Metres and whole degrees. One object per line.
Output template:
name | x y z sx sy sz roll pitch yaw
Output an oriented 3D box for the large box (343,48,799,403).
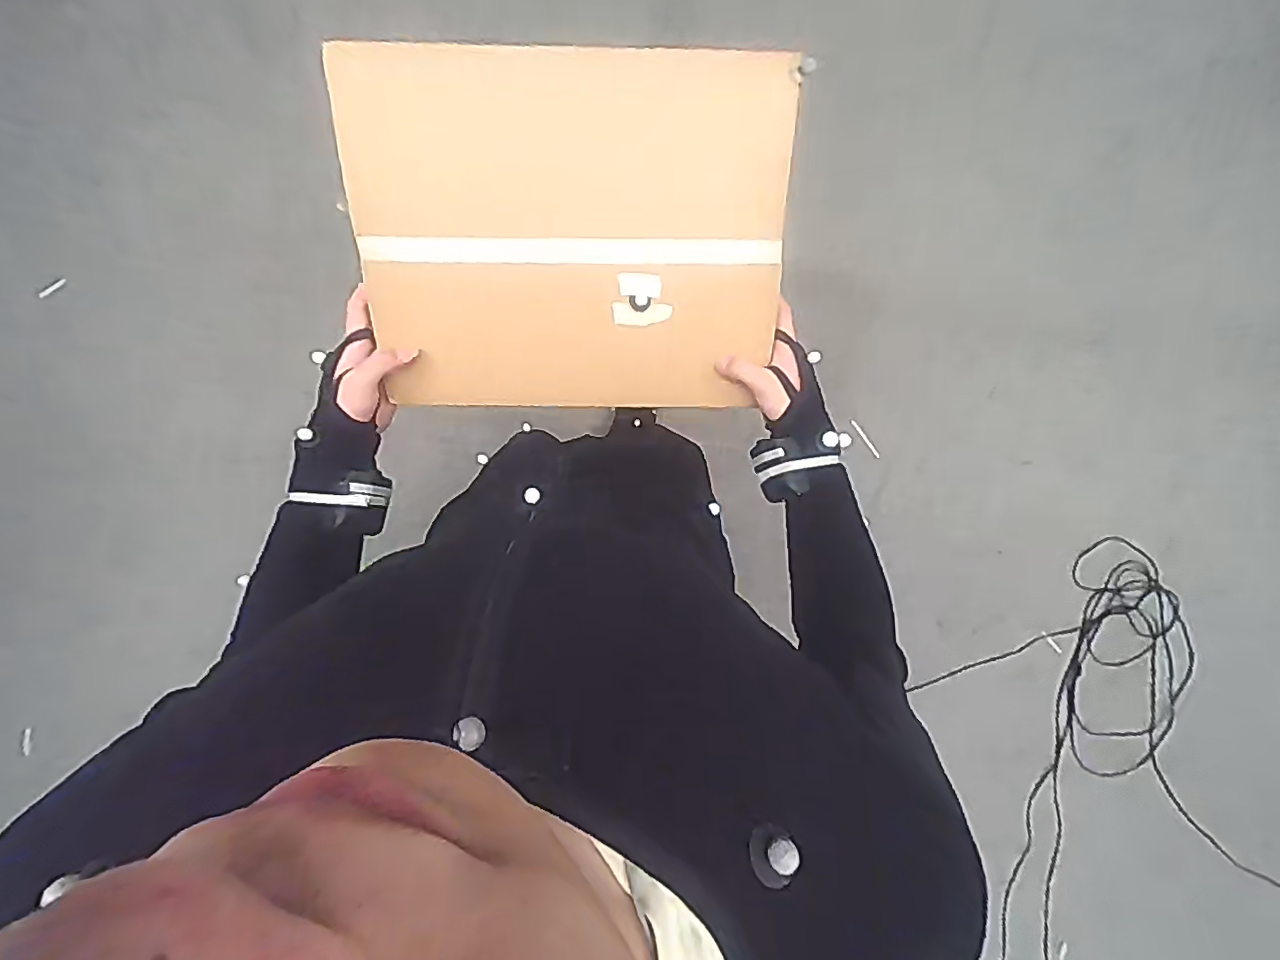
large box | -0.064 -0.288 0.662 0.408 0.320 0.320 -1 115 -2
